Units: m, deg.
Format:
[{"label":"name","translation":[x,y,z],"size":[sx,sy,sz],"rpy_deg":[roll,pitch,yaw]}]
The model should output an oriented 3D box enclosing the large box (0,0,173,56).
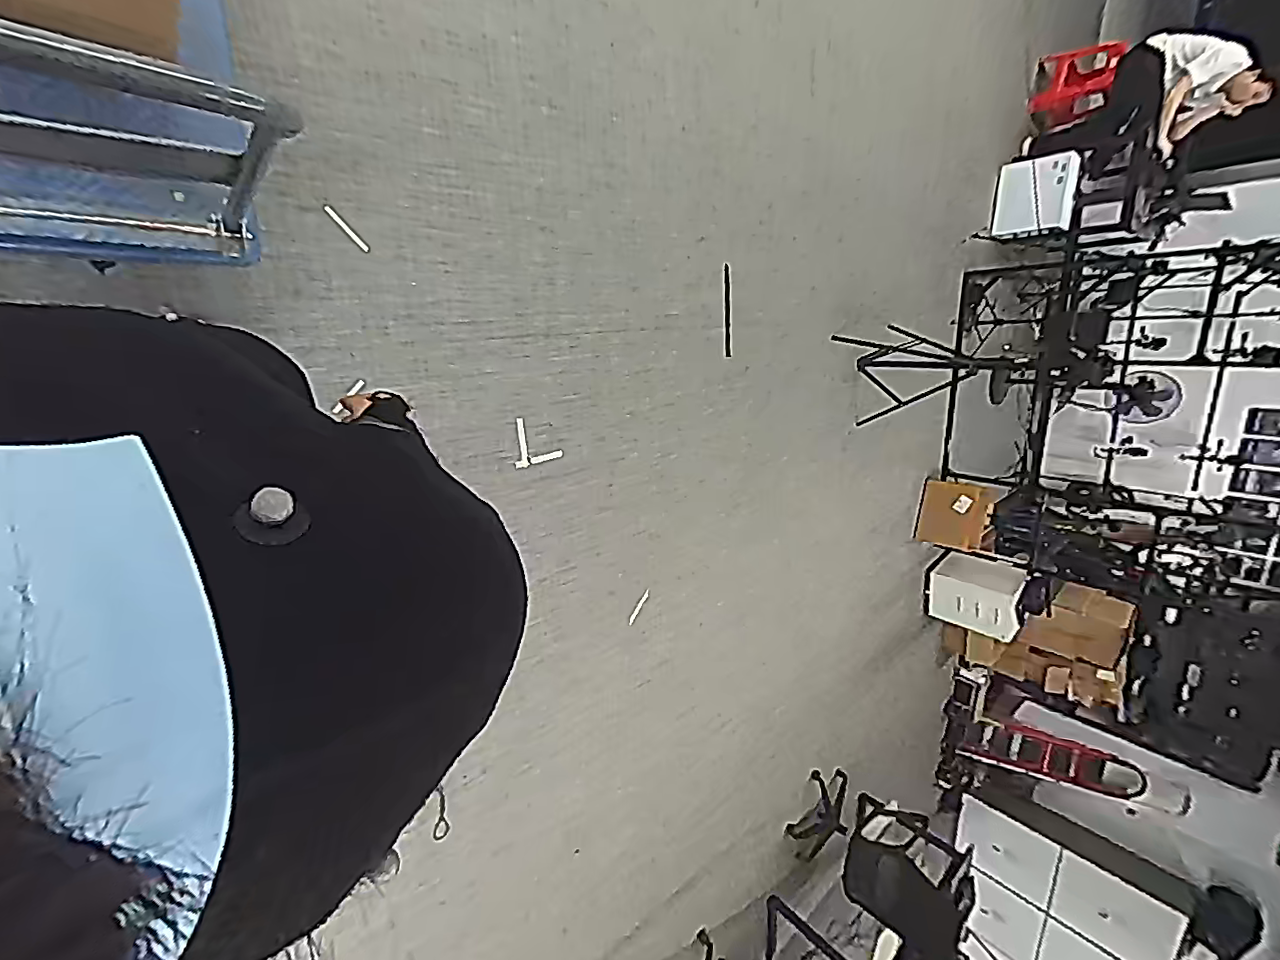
[{"label":"large box","translation":[-0.861,-0.808,0.659],"size":[0.408,0.320,0.320],"rpy_deg":[-10,107,-39]}]
